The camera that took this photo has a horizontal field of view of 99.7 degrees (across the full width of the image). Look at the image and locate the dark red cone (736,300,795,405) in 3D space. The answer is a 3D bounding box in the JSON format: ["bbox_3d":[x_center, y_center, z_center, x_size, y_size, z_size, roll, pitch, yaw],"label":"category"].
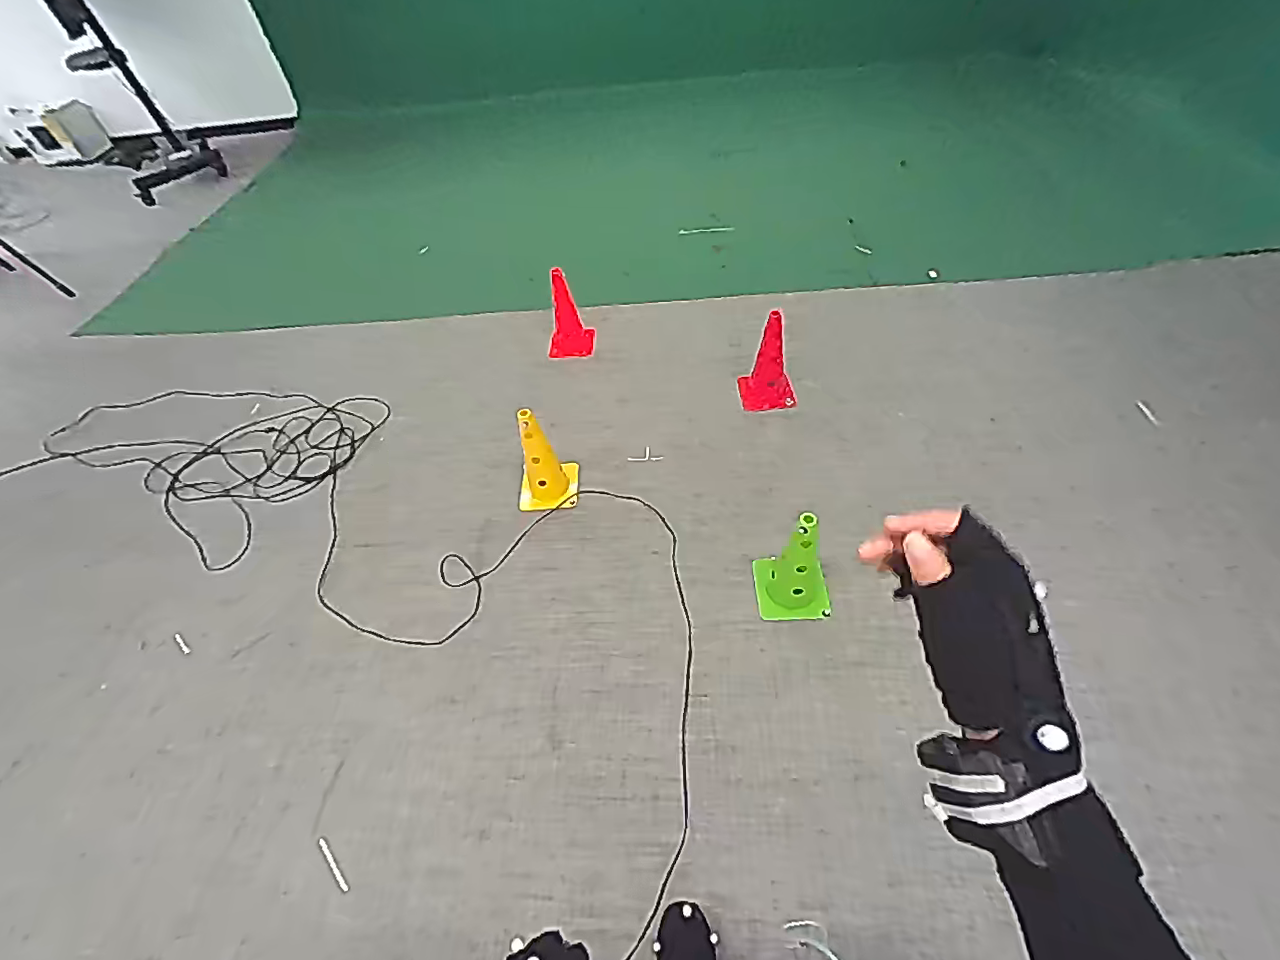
[{"bbox_3d":[0.466,-0.471,1.966,0.202,0.394,0.201,-7,49,1],"label":"dark red cone"}]

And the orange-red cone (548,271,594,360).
[{"bbox_3d":[-0.327,-0.714,2.296,0.198,0.360,0.199,-3,51,6],"label":"orange-red cone"}]

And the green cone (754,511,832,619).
[{"bbox_3d":[0.423,0.200,1.451,0.202,0.368,0.200,-5,50,5],"label":"green cone"}]
